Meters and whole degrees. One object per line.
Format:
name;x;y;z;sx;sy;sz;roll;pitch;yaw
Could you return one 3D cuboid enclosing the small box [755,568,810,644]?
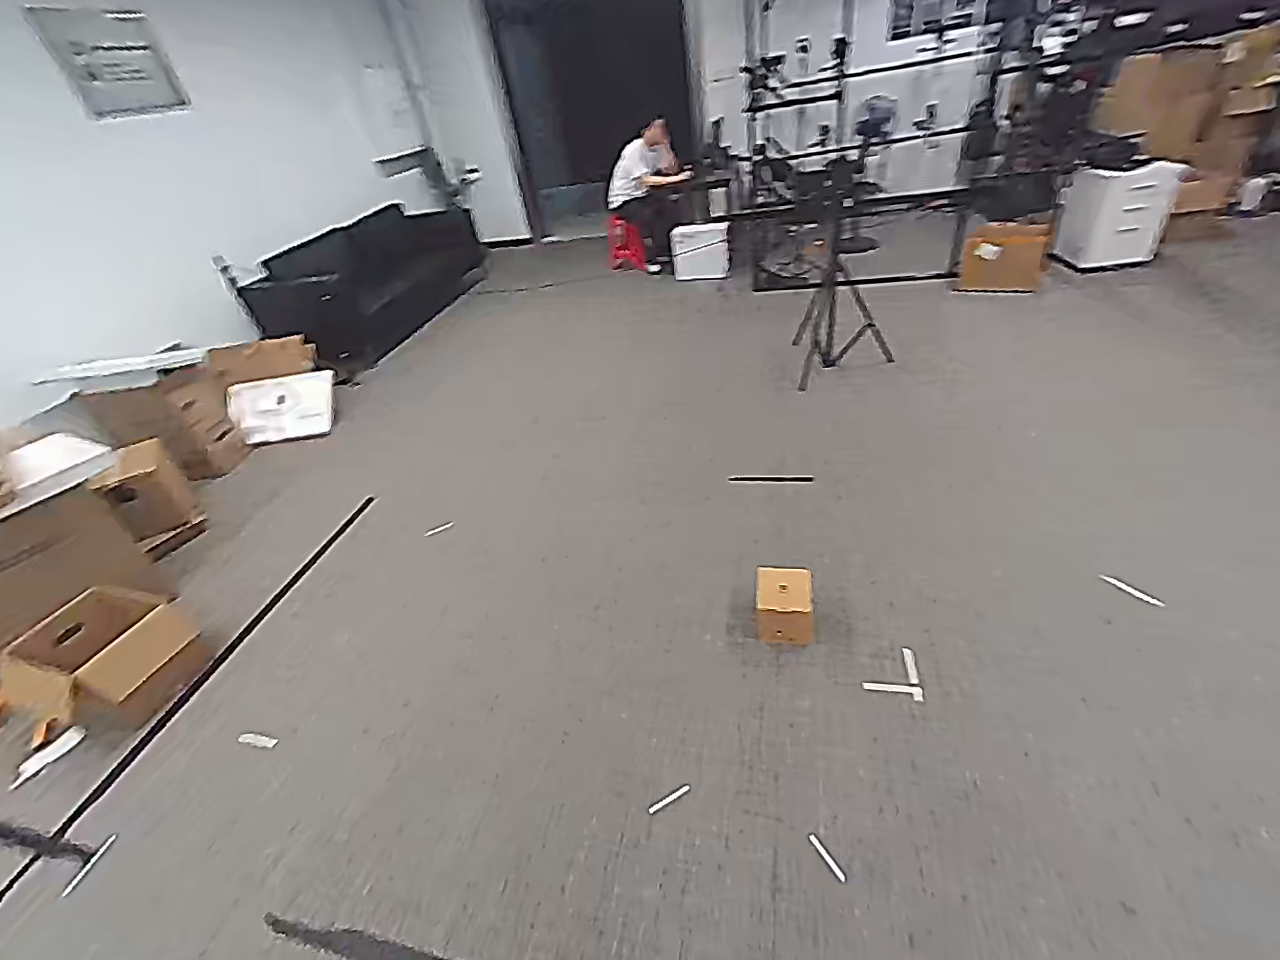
small box;0.465;0.411;1.773;0.168;0.176;0.179;0;38;14
